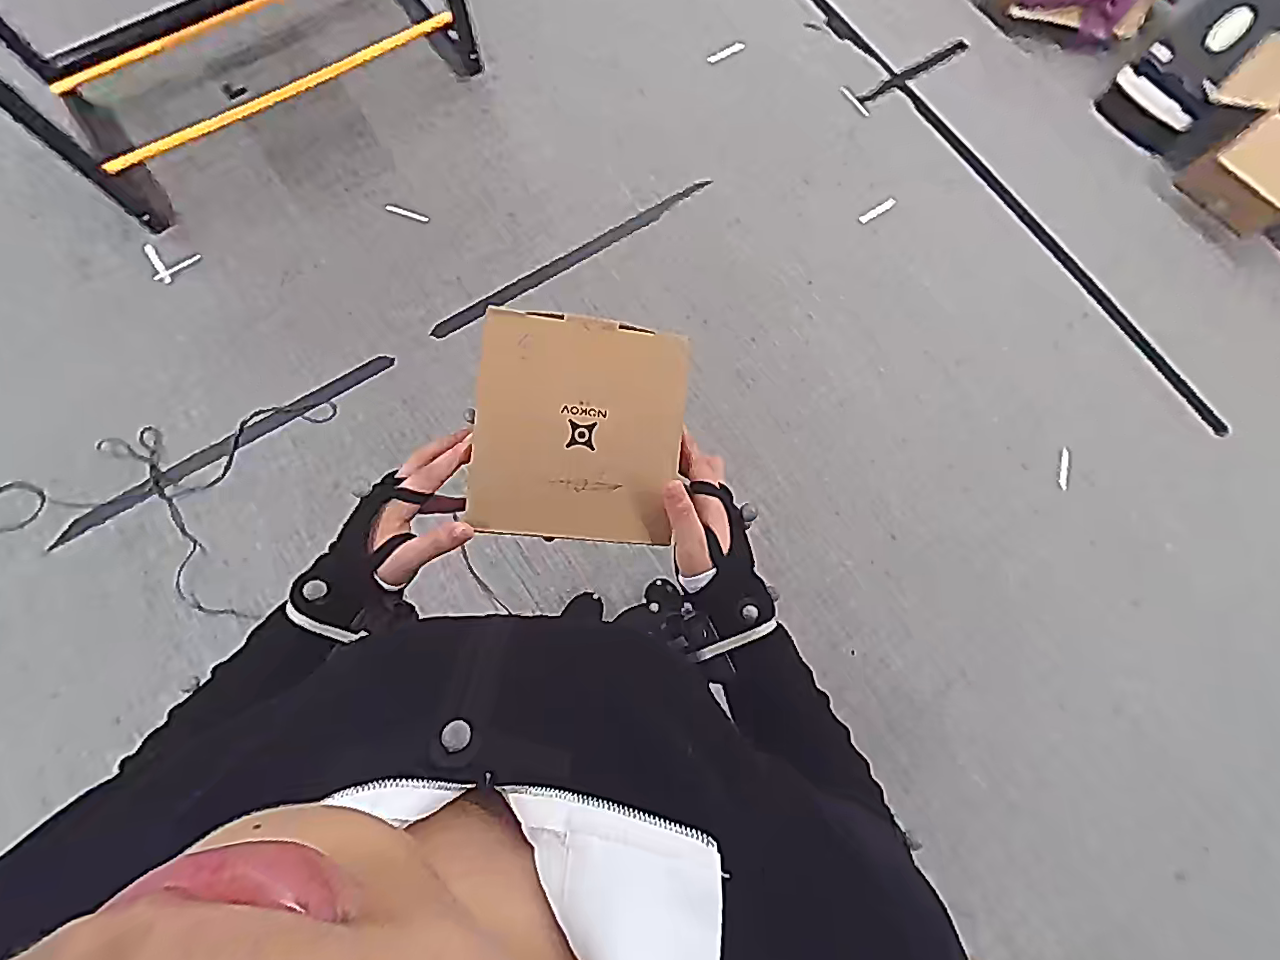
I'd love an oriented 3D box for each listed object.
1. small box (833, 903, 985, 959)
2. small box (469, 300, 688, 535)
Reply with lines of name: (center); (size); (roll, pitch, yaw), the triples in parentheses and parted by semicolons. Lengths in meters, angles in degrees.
small box: (0.376, 0.687, 0.683); (0.168, 0.176, 0.179); (-33, 78, -11)
small box: (-0.061, -0.048, 0.510); (0.168, 0.176, 0.179); (5, 90, -11)
